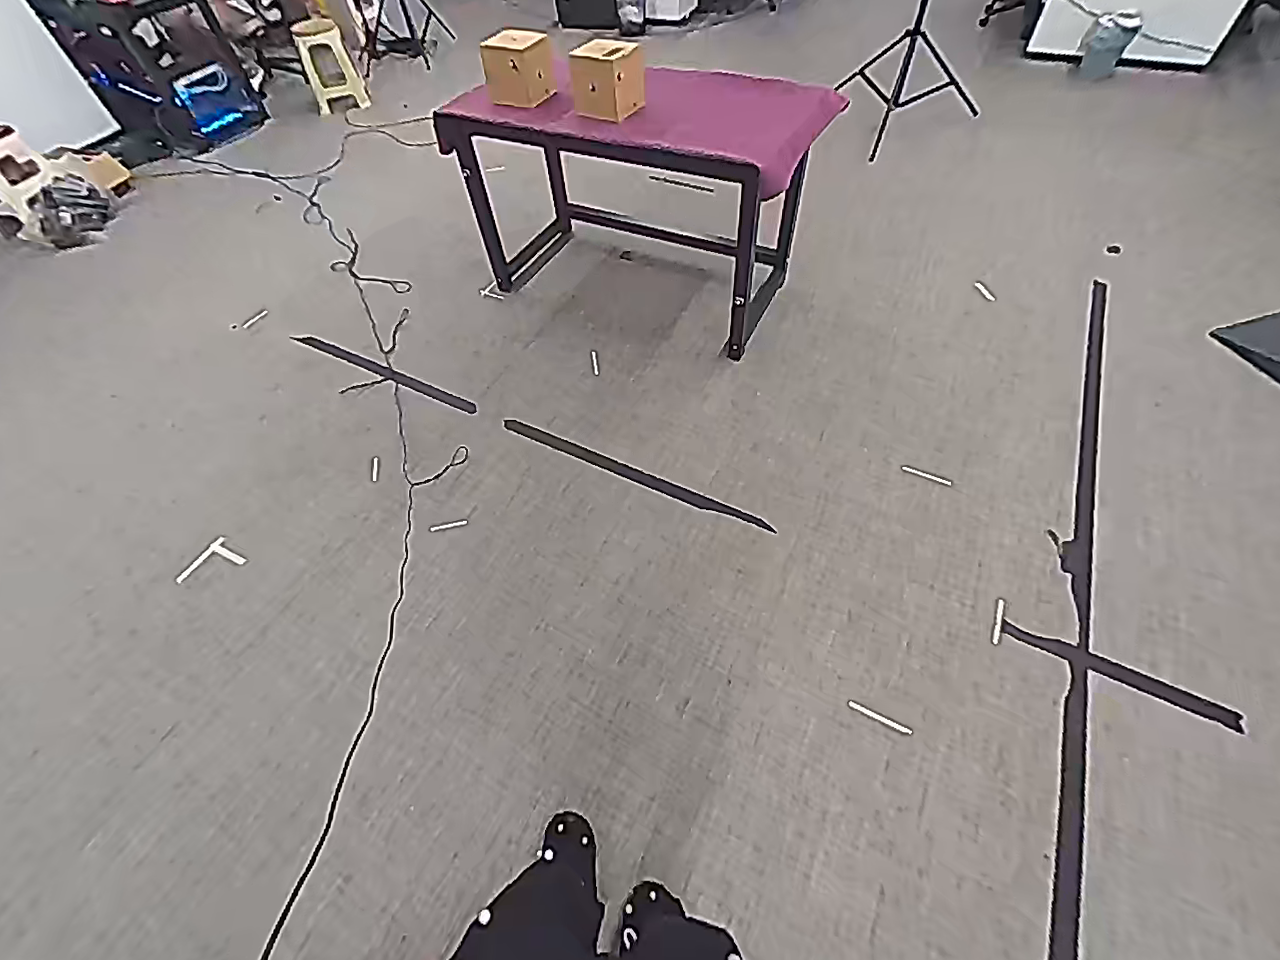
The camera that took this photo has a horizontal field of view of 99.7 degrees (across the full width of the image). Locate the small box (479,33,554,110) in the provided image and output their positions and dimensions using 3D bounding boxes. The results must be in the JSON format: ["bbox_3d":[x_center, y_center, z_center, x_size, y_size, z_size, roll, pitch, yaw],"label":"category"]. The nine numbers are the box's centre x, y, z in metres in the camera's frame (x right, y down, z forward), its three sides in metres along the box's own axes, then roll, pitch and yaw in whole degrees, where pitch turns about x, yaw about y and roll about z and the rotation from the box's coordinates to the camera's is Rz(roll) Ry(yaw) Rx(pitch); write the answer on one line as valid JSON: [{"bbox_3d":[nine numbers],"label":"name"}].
[{"bbox_3d":[-0.416,-1.399,1.855,0.179,0.176,0.168,19,56,17],"label":"small box"}]
